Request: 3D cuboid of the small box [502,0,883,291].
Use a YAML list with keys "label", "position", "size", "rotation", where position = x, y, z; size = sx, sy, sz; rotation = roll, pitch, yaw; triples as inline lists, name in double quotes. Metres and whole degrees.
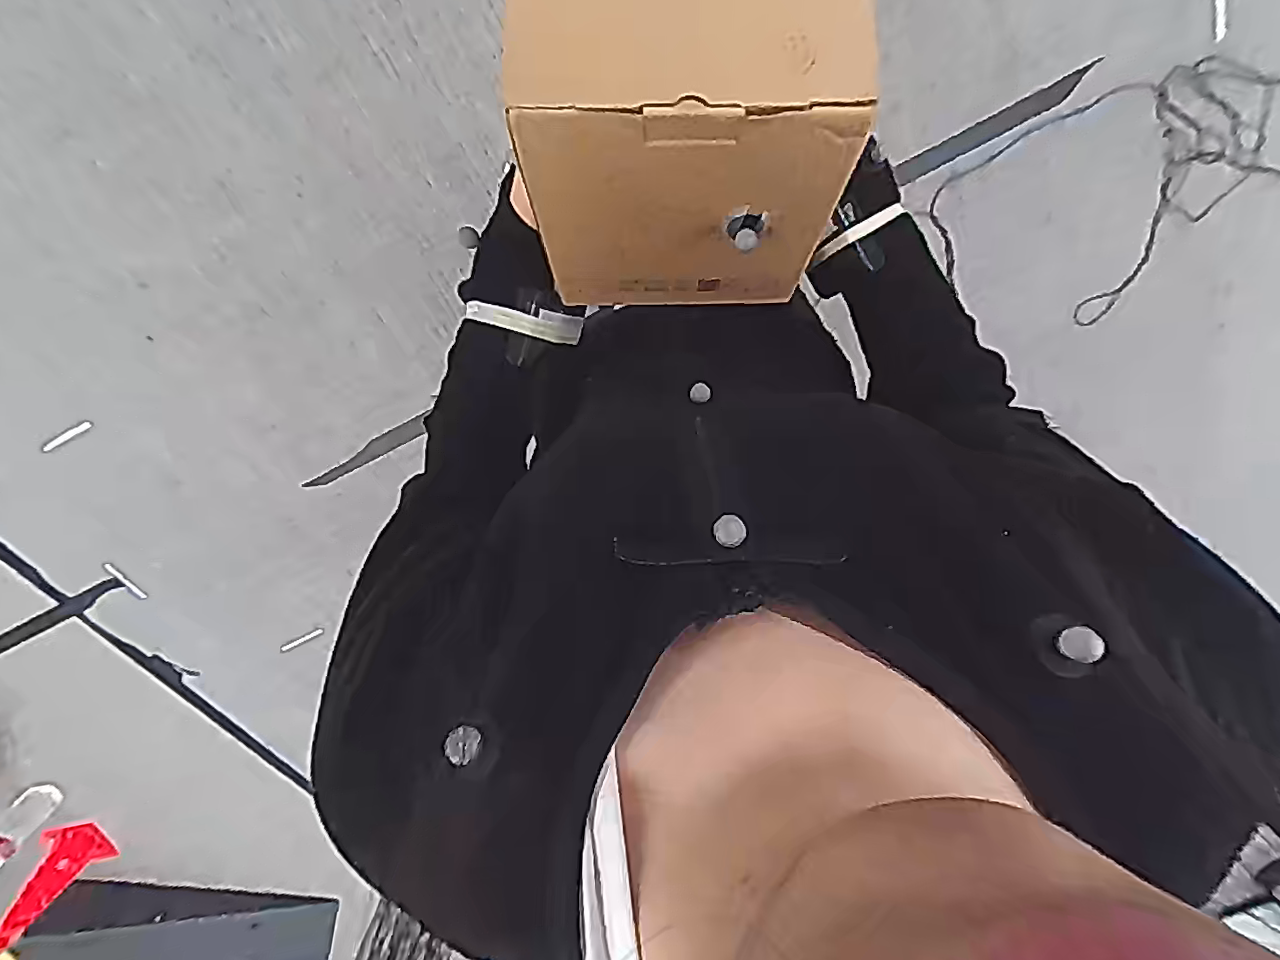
- label: "small box"
  position: [0.023, -0.230, 0.323]
  size: [0.168, 0.176, 0.179]
  rotation: [-1, 79, 0]
